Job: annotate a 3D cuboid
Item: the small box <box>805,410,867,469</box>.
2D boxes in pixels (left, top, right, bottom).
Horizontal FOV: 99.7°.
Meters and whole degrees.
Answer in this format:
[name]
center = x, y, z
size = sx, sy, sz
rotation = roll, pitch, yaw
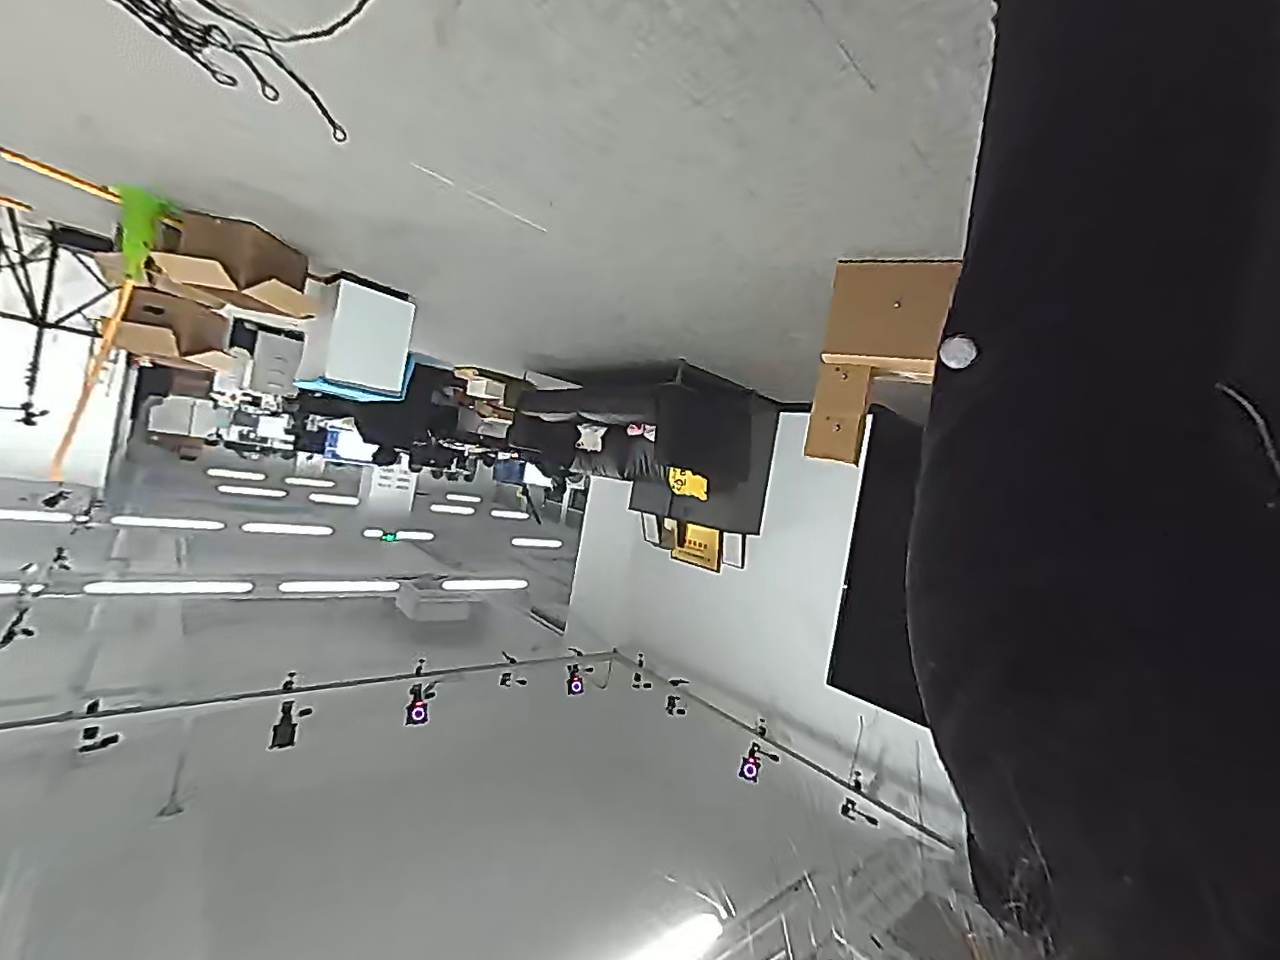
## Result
[small box]
center = 0.692, -0.142, 1.900
size = 0.168, 0.176, 0.179
rotation = 10, 180, 28
